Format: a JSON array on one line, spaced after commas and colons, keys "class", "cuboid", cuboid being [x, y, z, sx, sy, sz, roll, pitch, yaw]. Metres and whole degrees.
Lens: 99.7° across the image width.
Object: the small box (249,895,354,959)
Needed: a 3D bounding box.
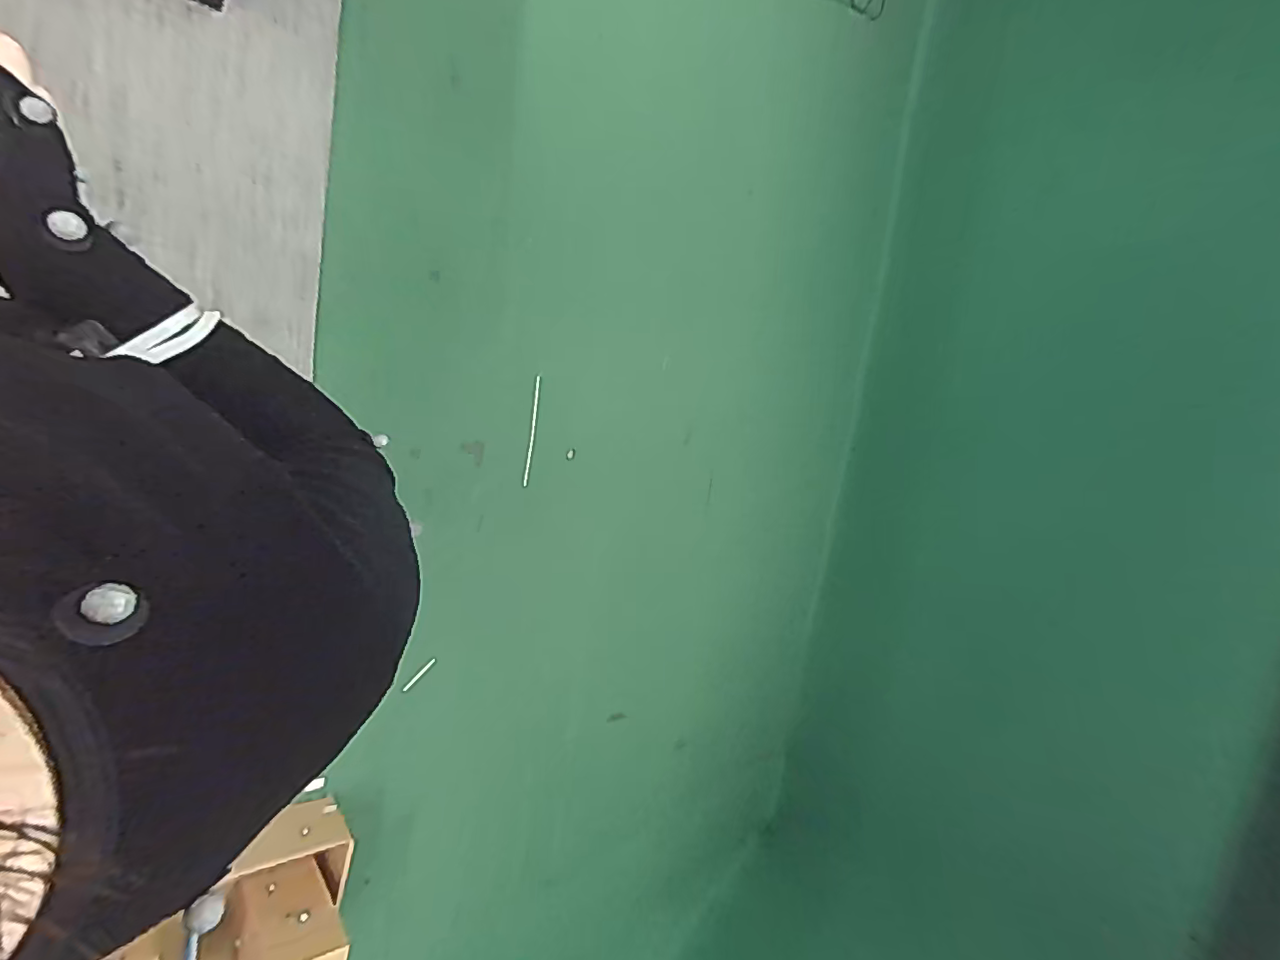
[{"class": "small box", "cuboid": [-0.811, 1.149, 1.283, 0.168, 0.176, 0.179, 17, 87, -46]}]
